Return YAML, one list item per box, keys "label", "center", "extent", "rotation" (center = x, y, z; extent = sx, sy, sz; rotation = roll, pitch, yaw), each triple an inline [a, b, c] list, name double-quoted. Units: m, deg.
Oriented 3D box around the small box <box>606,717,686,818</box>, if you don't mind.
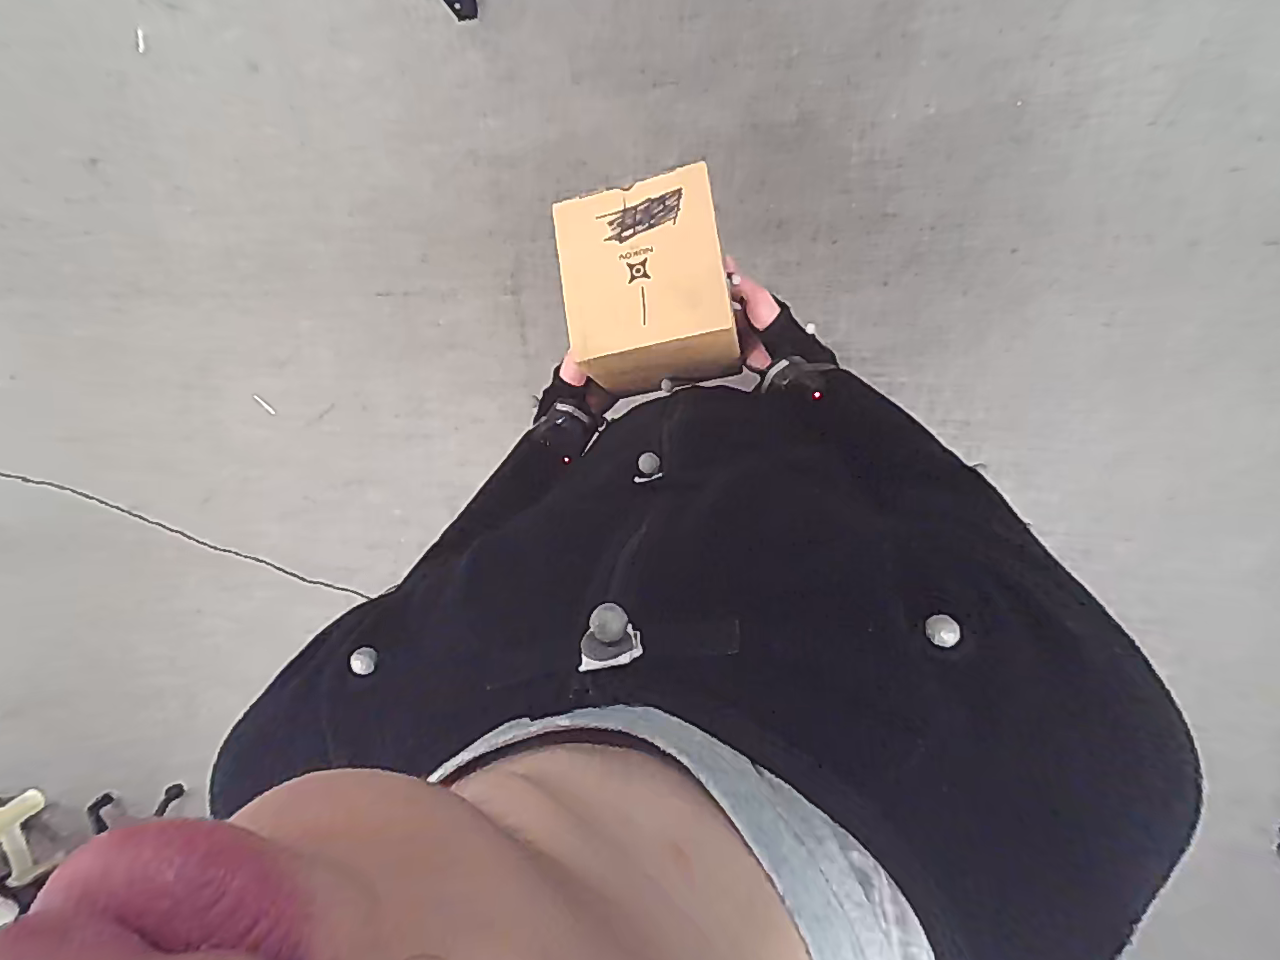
- label: "small box"
  center: [0.027, 0.864, 1.644]
  extent: [0.168, 0.176, 0.179]
  rotation: [44, 105, 1]
